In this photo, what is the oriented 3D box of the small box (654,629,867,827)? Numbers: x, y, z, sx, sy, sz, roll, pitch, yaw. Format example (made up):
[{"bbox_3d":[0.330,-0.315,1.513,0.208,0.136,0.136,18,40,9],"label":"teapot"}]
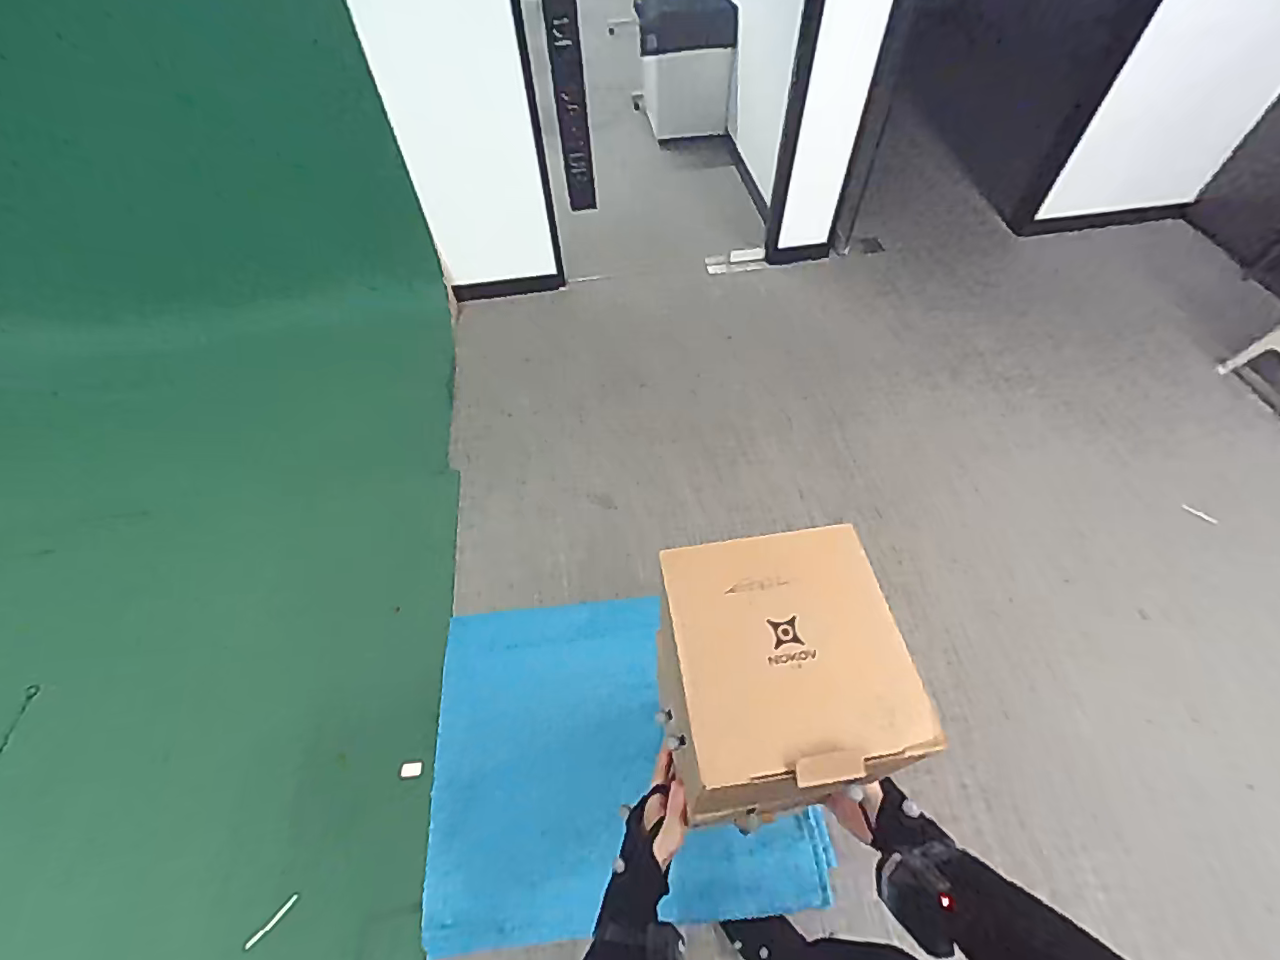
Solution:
[{"bbox_3d":[0.112,0.258,0.583,0.168,0.176,0.179,-10,53,-5],"label":"small box"}]

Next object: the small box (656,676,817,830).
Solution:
[{"bbox_3d":[0.114,0.352,0.715,0.168,0.176,0.179,-6,55,-4],"label":"small box"}]

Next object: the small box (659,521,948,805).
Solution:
[{"bbox_3d":[0.110,0.159,0.453,0.168,0.176,0.179,-7,53,-4],"label":"small box"}]
